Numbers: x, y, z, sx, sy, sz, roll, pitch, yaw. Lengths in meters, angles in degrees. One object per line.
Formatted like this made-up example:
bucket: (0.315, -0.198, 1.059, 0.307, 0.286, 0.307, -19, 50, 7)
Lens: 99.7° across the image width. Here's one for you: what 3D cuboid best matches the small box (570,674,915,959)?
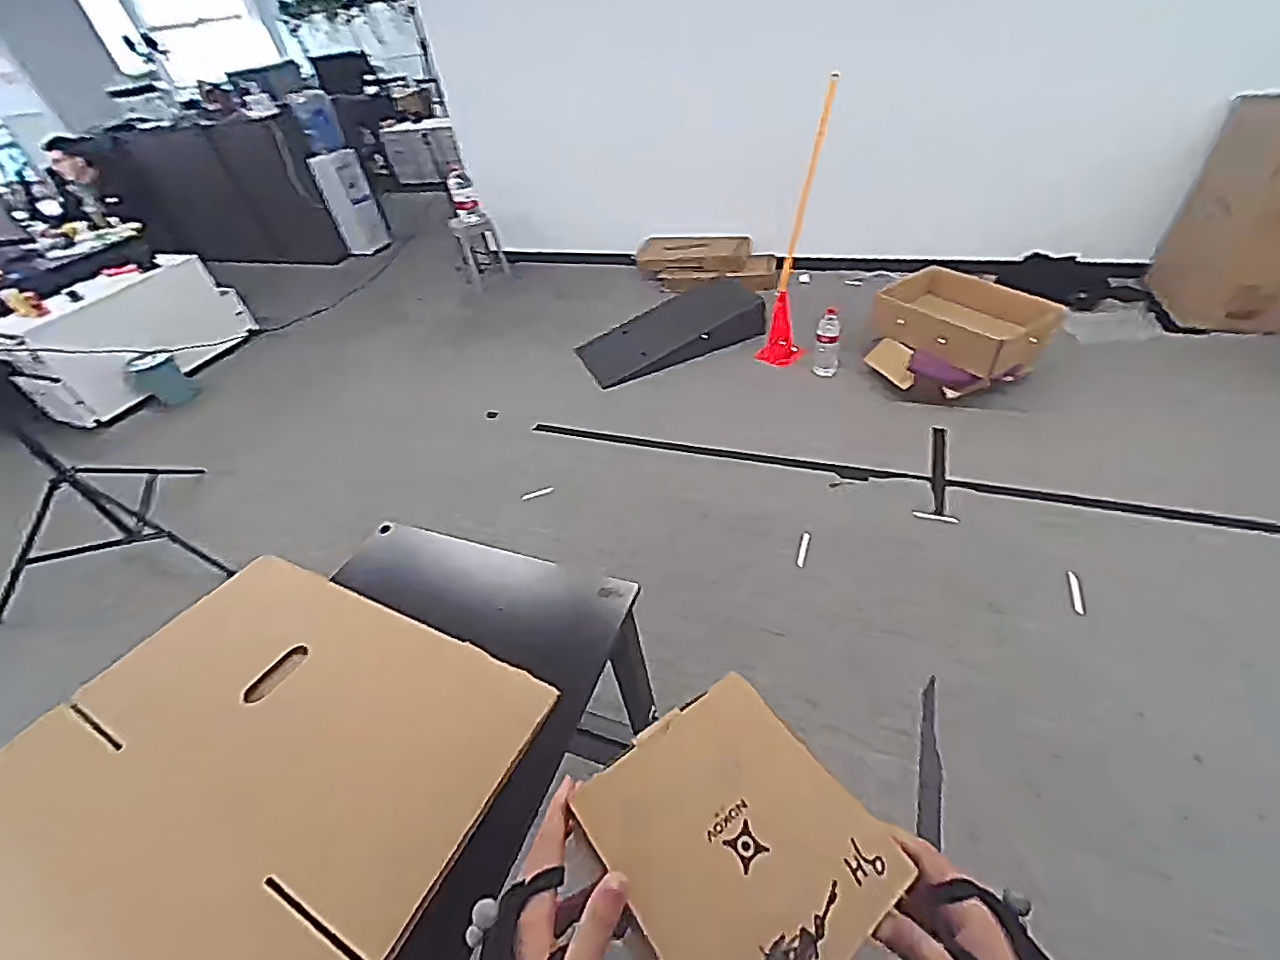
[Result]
small box: (0.061, 0.296, 0.416, 0.168, 0.176, 0.179, -26, 49, -28)
